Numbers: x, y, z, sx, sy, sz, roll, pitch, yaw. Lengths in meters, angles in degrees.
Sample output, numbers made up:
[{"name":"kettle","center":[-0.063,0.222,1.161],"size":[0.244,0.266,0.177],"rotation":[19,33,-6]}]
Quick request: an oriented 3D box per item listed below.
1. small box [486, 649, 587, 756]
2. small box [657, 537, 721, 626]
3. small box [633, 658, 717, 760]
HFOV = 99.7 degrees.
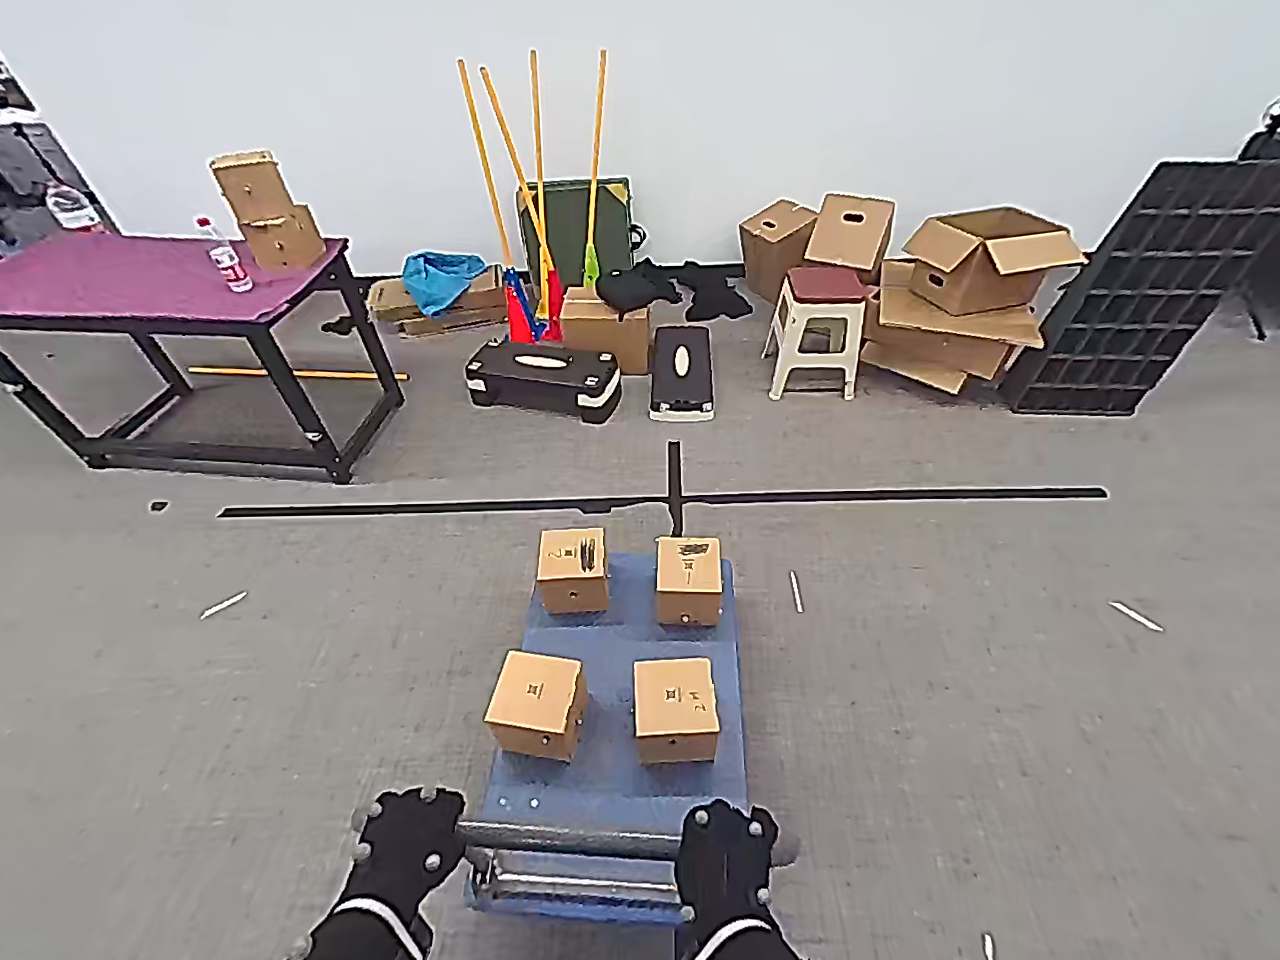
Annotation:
[{"name":"small box","center":[-0.230,0.518,1.252],"size":[0.179,0.176,0.168],"rotation":[7,45,7]},{"name":"small box","center":[0.131,0.277,1.478],"size":[0.168,0.176,0.179],"rotation":[1,46,4]},{"name":"small box","center":[0.076,0.524,1.233],"size":[0.179,0.176,0.168],"rotation":[-2,45,0]}]
